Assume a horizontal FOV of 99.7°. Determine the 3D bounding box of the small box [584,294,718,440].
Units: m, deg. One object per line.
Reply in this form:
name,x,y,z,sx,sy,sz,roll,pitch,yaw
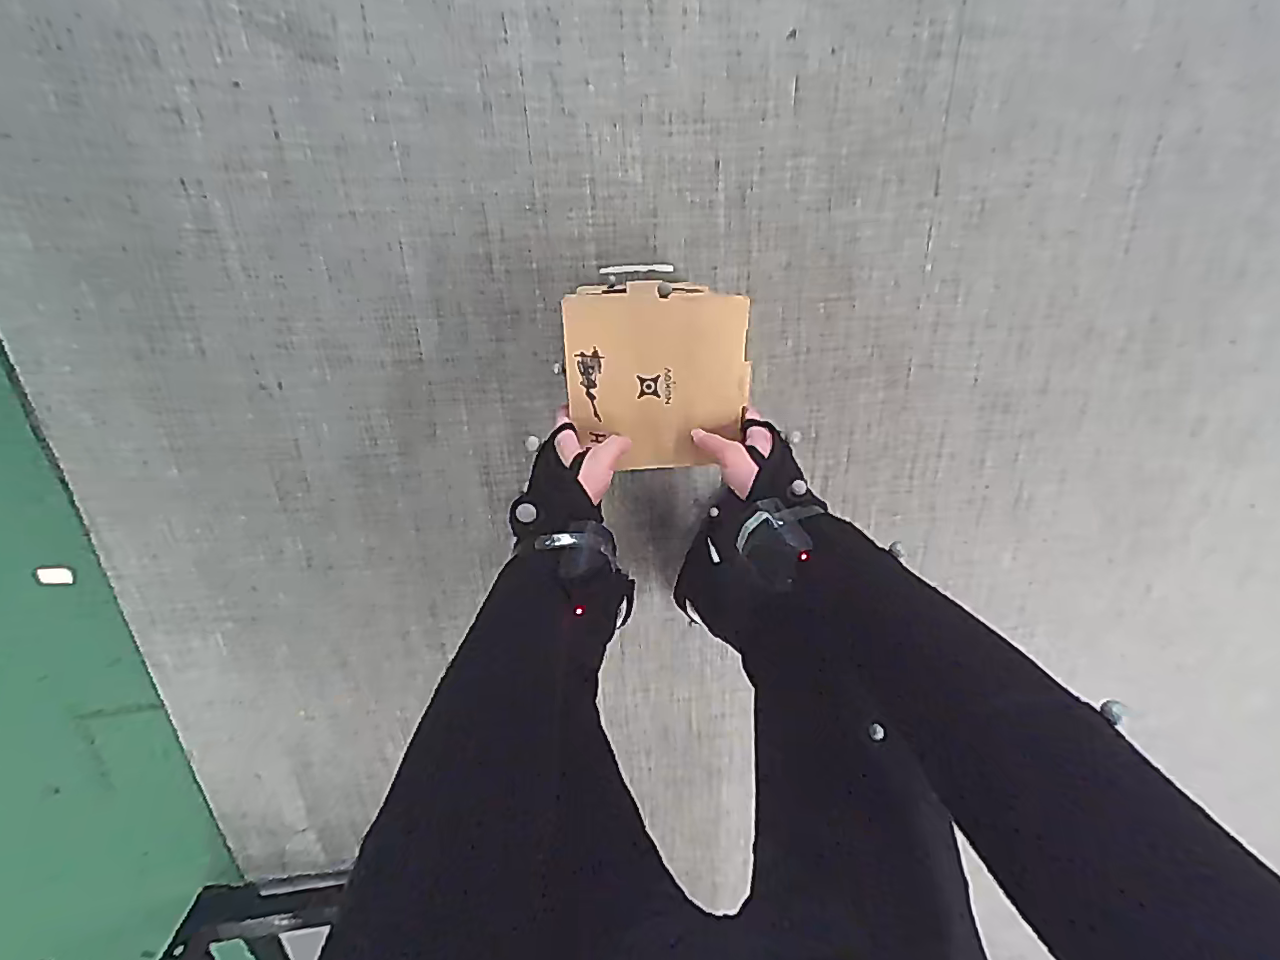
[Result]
small box,0.006,-0.163,0.747,0.168,0.176,0.179,-1,111,-4
